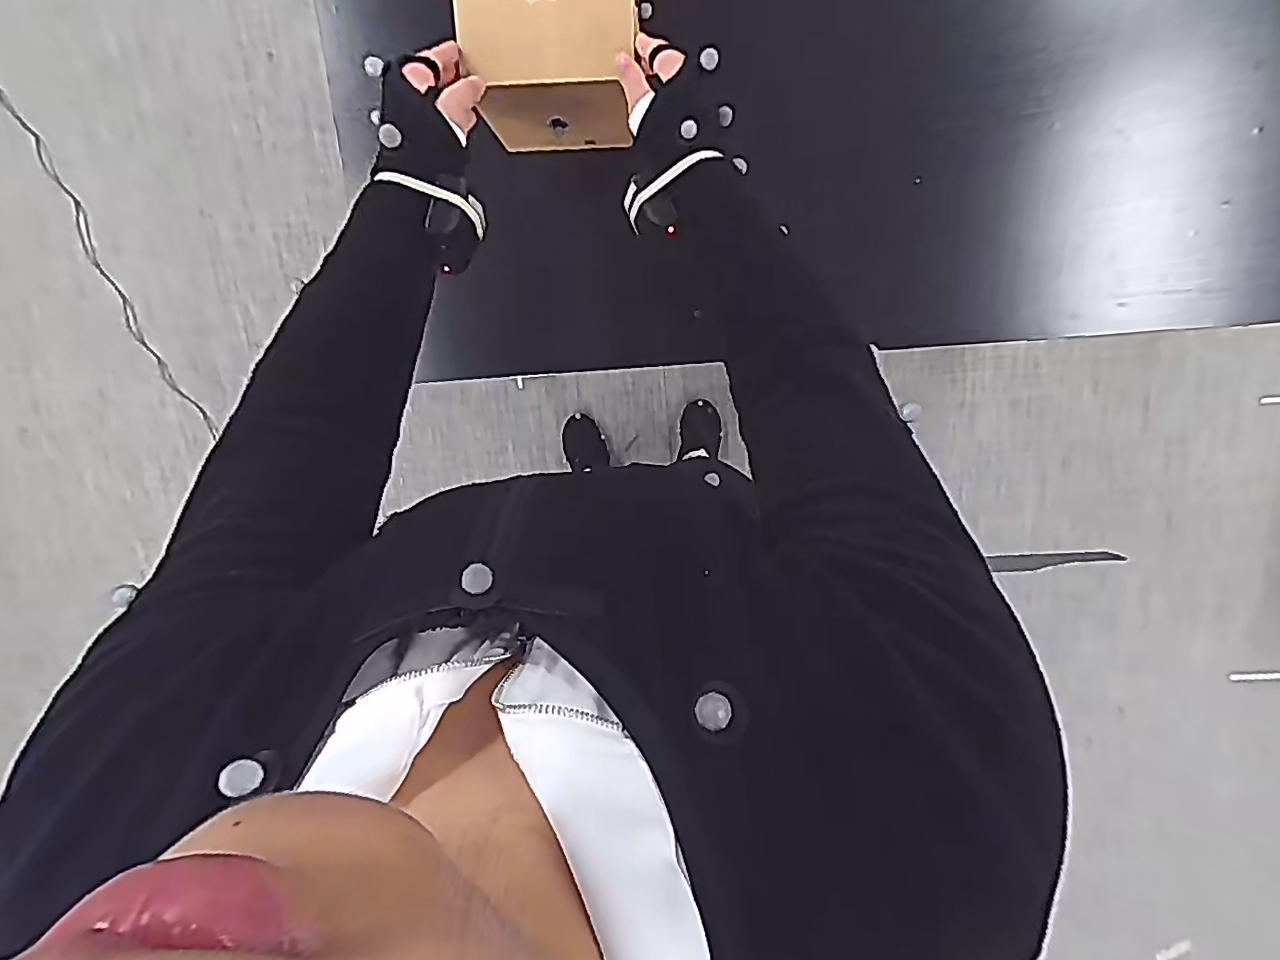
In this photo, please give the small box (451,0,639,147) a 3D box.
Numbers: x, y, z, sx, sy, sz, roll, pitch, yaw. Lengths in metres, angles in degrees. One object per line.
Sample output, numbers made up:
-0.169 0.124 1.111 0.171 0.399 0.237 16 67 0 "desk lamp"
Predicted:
-0.087 -0.470 0.564 0.168 0.176 0.179 -1 102 2 "small box"
